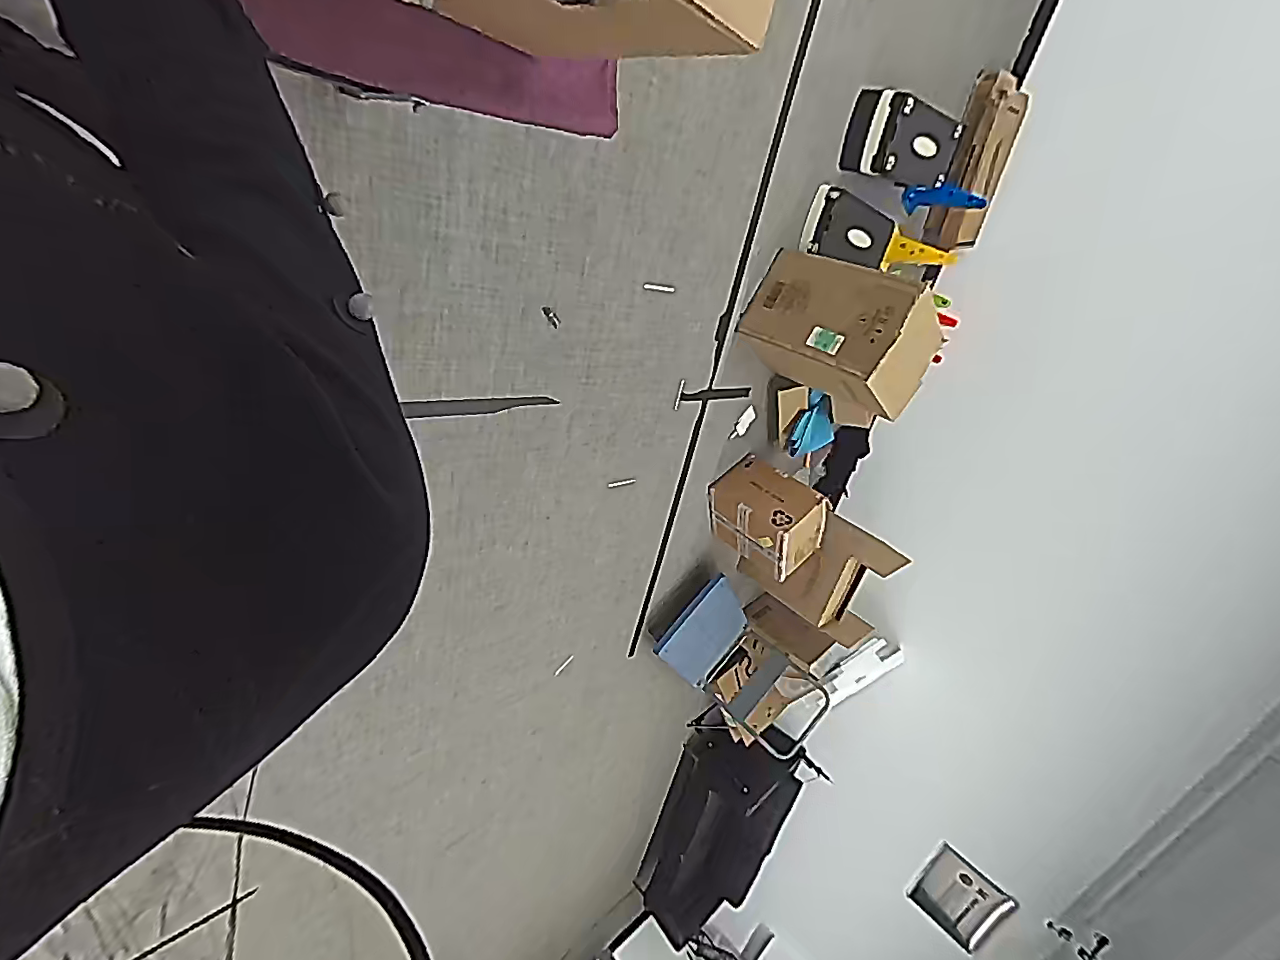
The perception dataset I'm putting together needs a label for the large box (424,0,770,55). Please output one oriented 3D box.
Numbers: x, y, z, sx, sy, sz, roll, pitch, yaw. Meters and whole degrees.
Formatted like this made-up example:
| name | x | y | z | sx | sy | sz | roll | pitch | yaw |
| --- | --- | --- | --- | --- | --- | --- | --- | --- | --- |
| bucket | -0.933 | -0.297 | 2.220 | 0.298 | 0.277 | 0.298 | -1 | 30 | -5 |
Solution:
| name | x | y | z | sx | sy | sz | roll | pitch | yaw |
| --- | --- | --- | --- | --- | --- | --- | --- | --- | --- |
| large box | -0.076 | -0.557 | 0.331 | 0.320 | 0.320 | 0.408 | -14 | 126 | -44 |
